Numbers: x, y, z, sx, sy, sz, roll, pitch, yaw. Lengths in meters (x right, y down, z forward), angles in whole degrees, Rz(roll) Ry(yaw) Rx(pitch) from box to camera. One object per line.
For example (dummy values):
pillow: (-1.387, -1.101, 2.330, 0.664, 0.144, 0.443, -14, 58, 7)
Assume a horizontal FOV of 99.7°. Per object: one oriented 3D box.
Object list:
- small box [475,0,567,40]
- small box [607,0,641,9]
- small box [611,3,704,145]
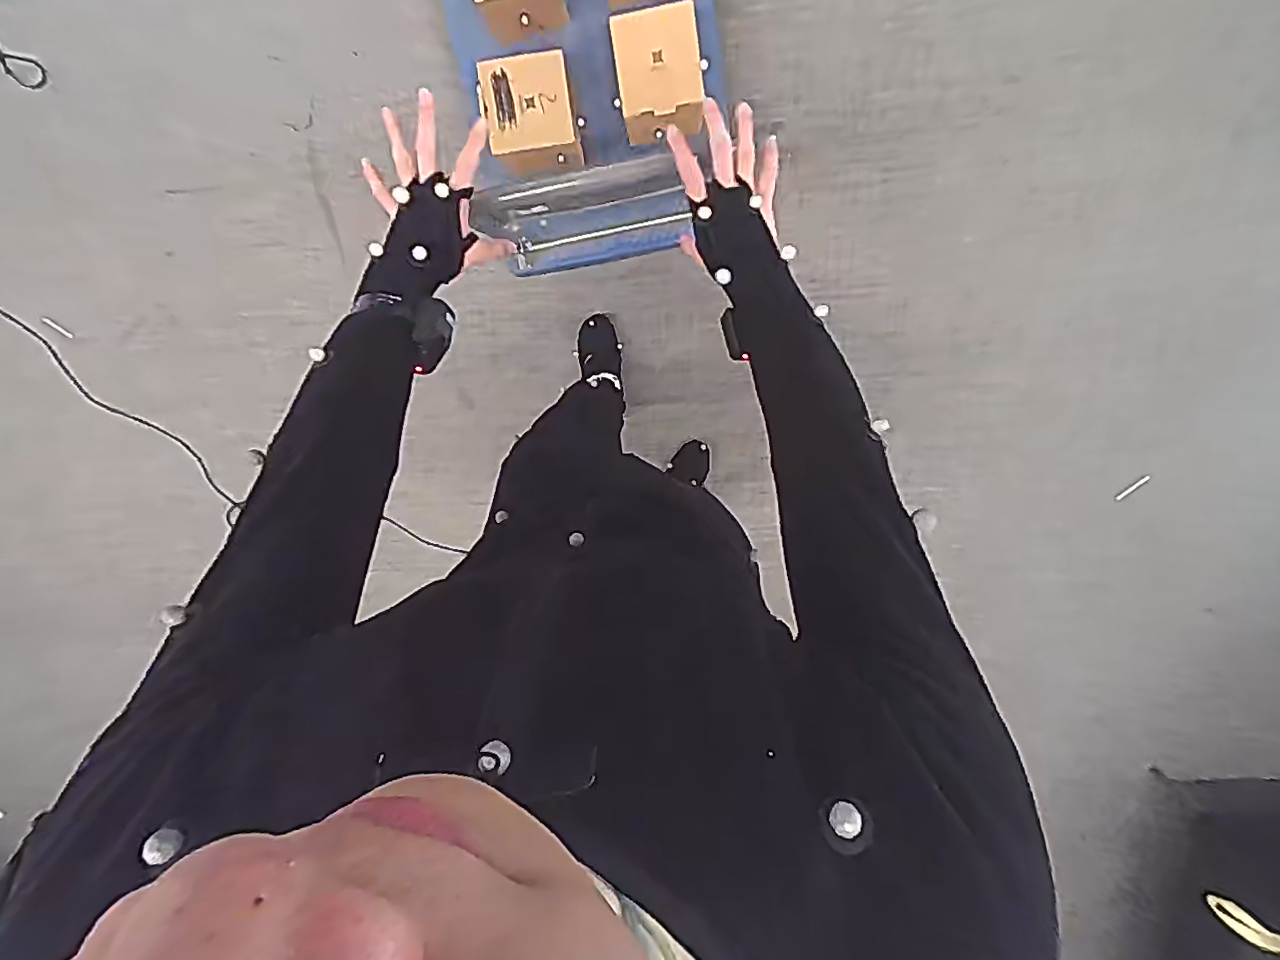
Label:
small box: (-0.258, -1.045, 1.104, 0.168, 0.176, 0.179, -14, 104, 5)
small box: (-0.015, -1.105, 1.077, 0.168, 0.176, 0.179, -13, 105, 7)
small box: (0.036, -0.848, 1.146, 0.168, 0.176, 0.179, -9, 105, 5)
